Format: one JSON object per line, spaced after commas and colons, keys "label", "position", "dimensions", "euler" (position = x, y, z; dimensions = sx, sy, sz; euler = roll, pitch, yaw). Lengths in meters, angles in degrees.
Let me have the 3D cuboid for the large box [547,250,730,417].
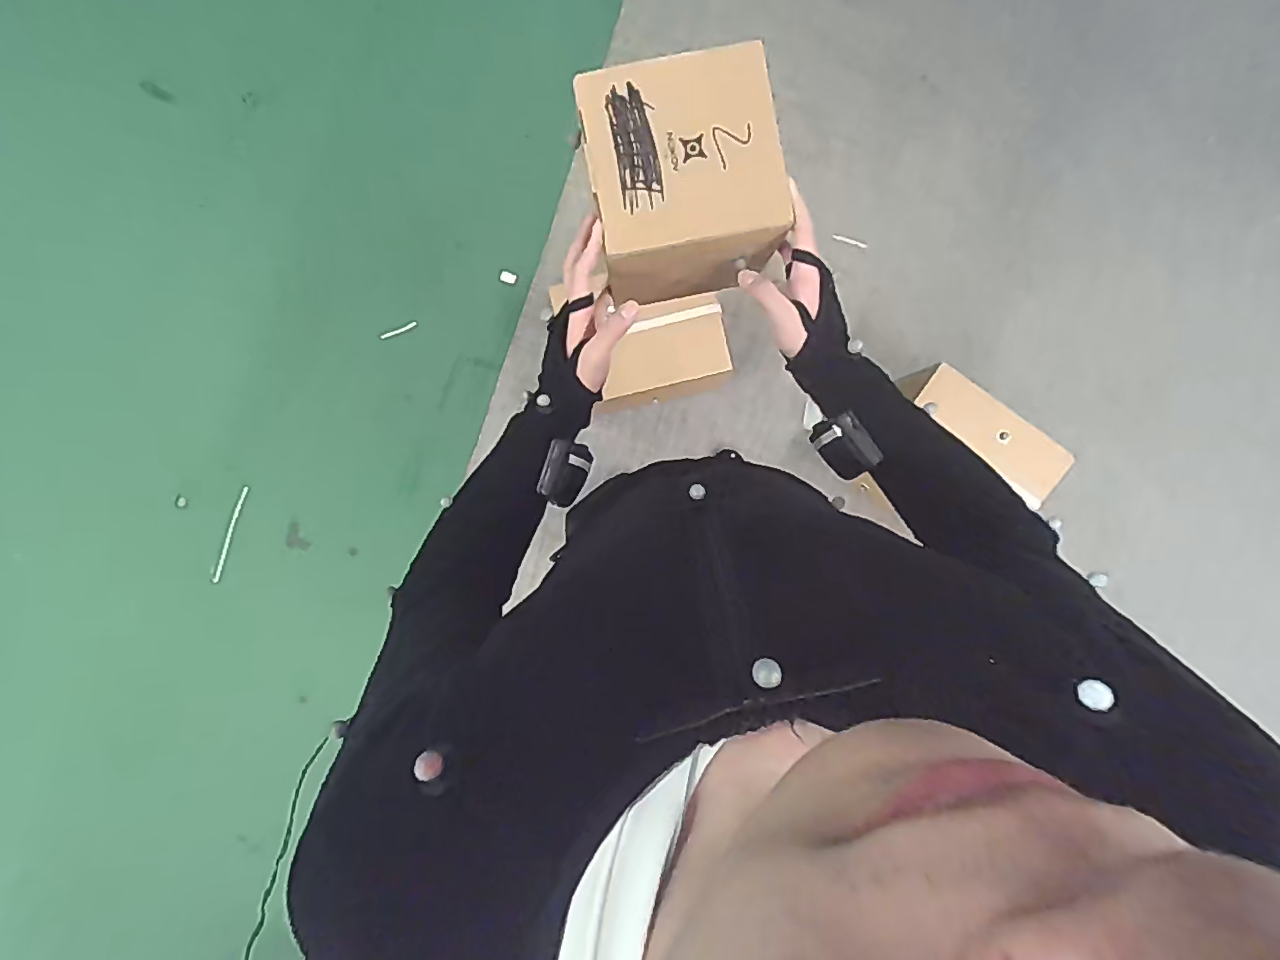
{"label": "large box", "position": [0.000, -0.379, 1.492], "dimensions": [0.408, 0.320, 0.320], "euler": [-14, 90, 2]}
